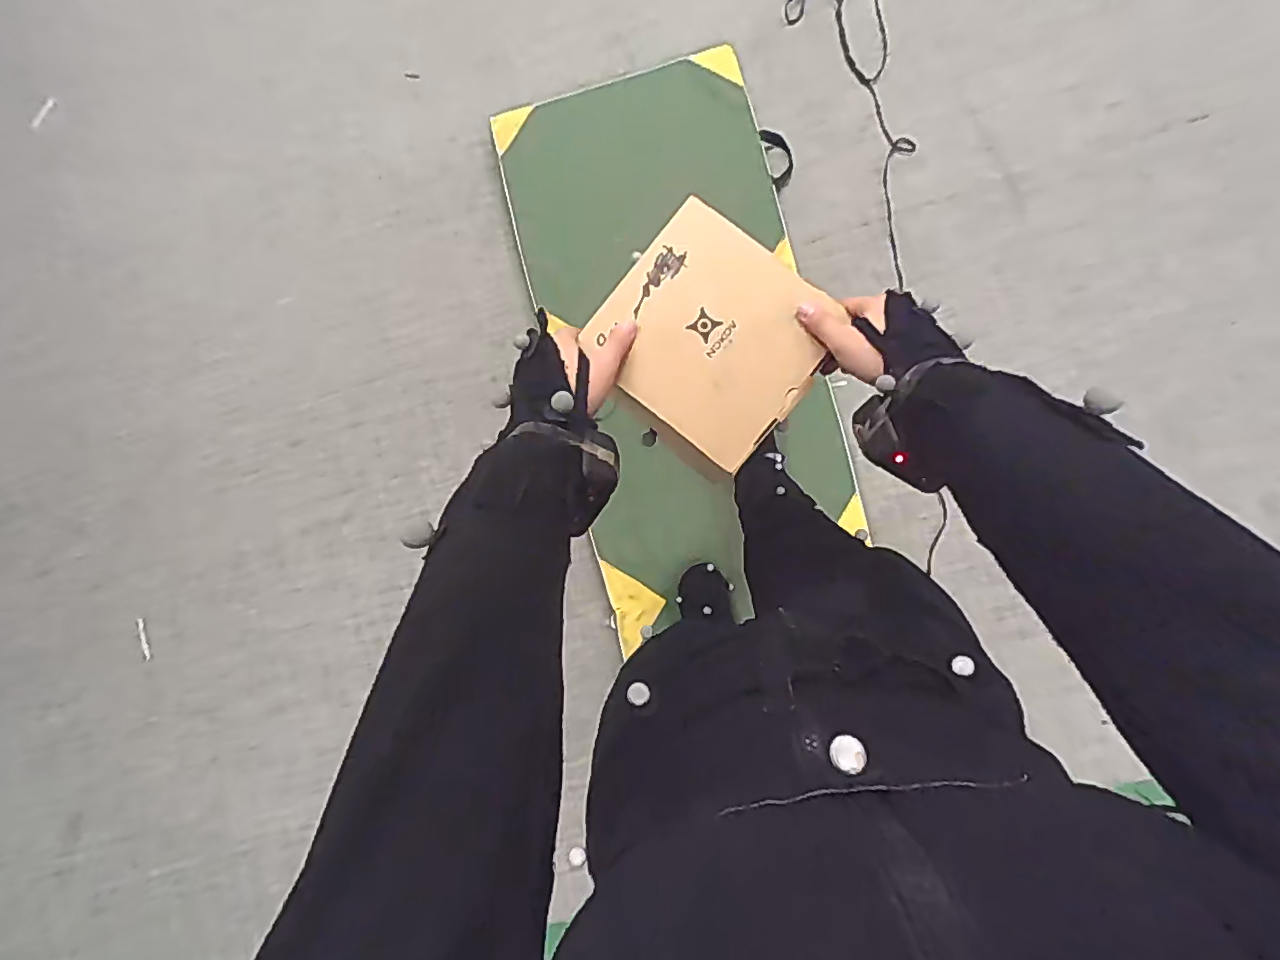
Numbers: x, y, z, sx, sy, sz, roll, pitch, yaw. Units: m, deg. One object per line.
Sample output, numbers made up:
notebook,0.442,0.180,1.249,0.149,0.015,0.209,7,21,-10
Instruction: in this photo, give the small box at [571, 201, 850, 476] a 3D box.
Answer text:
small box,0.062,-0.118,0.529,0.179,0.176,0.168,39,89,4
